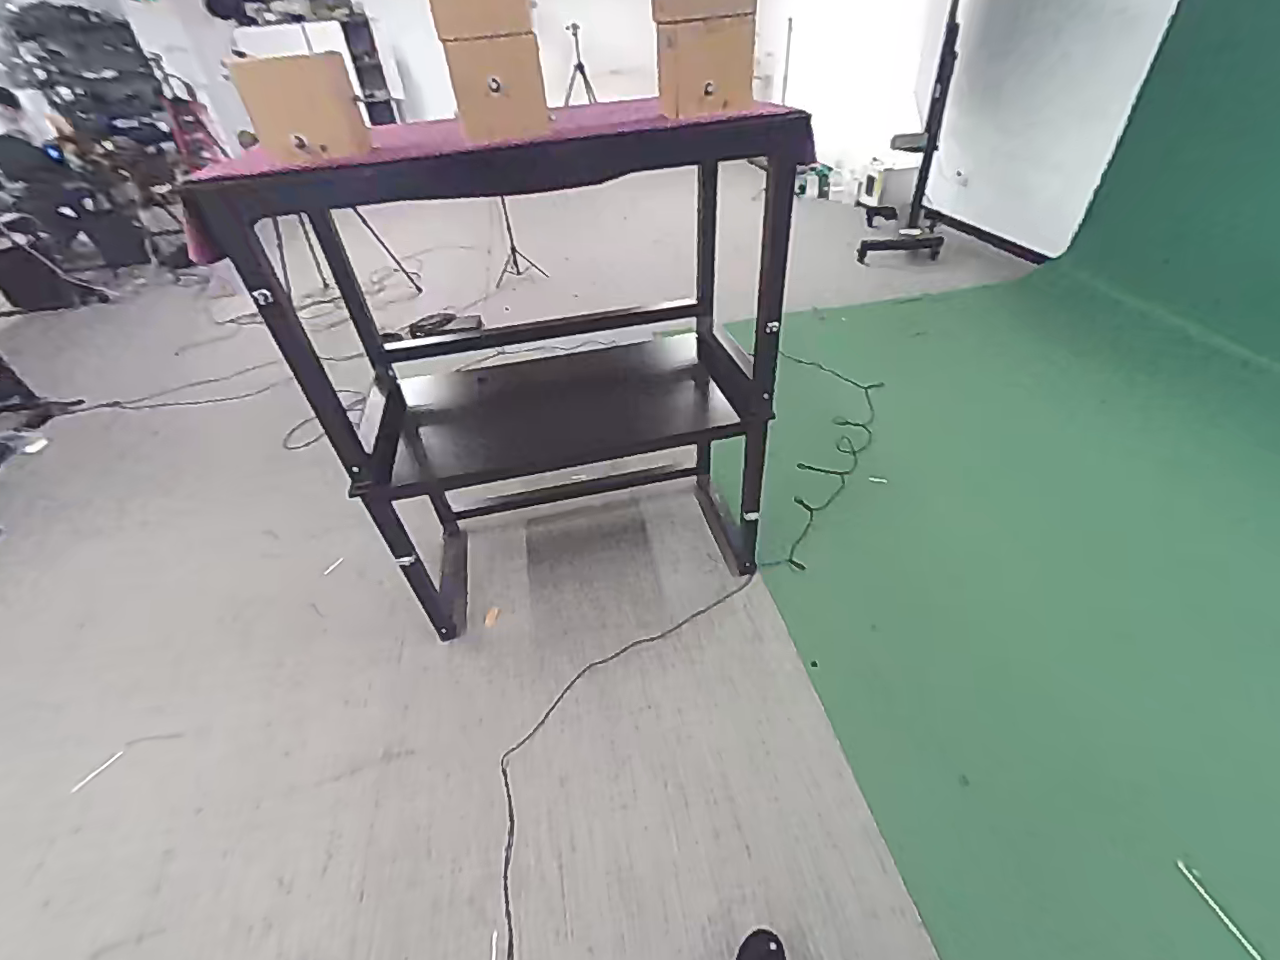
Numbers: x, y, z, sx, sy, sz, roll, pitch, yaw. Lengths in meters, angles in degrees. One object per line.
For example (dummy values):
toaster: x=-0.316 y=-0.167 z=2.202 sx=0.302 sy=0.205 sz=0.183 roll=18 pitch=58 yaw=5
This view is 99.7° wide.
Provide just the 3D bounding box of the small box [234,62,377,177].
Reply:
small box: x=-0.635 y=-0.704 z=1.056 sx=0.168 sy=0.176 sz=0.179 roll=-12 pitch=40 yaw=-7

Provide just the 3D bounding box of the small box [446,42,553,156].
small box: x=-0.278 y=-0.782 z=1.108 sx=0.179 sy=0.176 sz=0.168 roll=-11 pitch=39 yaw=-5

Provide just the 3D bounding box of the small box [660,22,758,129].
small box: x=0.141 y=-0.869 z=1.163 sx=0.168 sy=0.176 sz=0.179 roll=-11 pitch=41 yaw=-6

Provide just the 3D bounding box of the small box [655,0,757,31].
small box: x=0.124 y=-0.988 z=1.050 sx=0.179 sy=0.176 sz=0.168 roll=-11 pitch=42 yaw=-6
